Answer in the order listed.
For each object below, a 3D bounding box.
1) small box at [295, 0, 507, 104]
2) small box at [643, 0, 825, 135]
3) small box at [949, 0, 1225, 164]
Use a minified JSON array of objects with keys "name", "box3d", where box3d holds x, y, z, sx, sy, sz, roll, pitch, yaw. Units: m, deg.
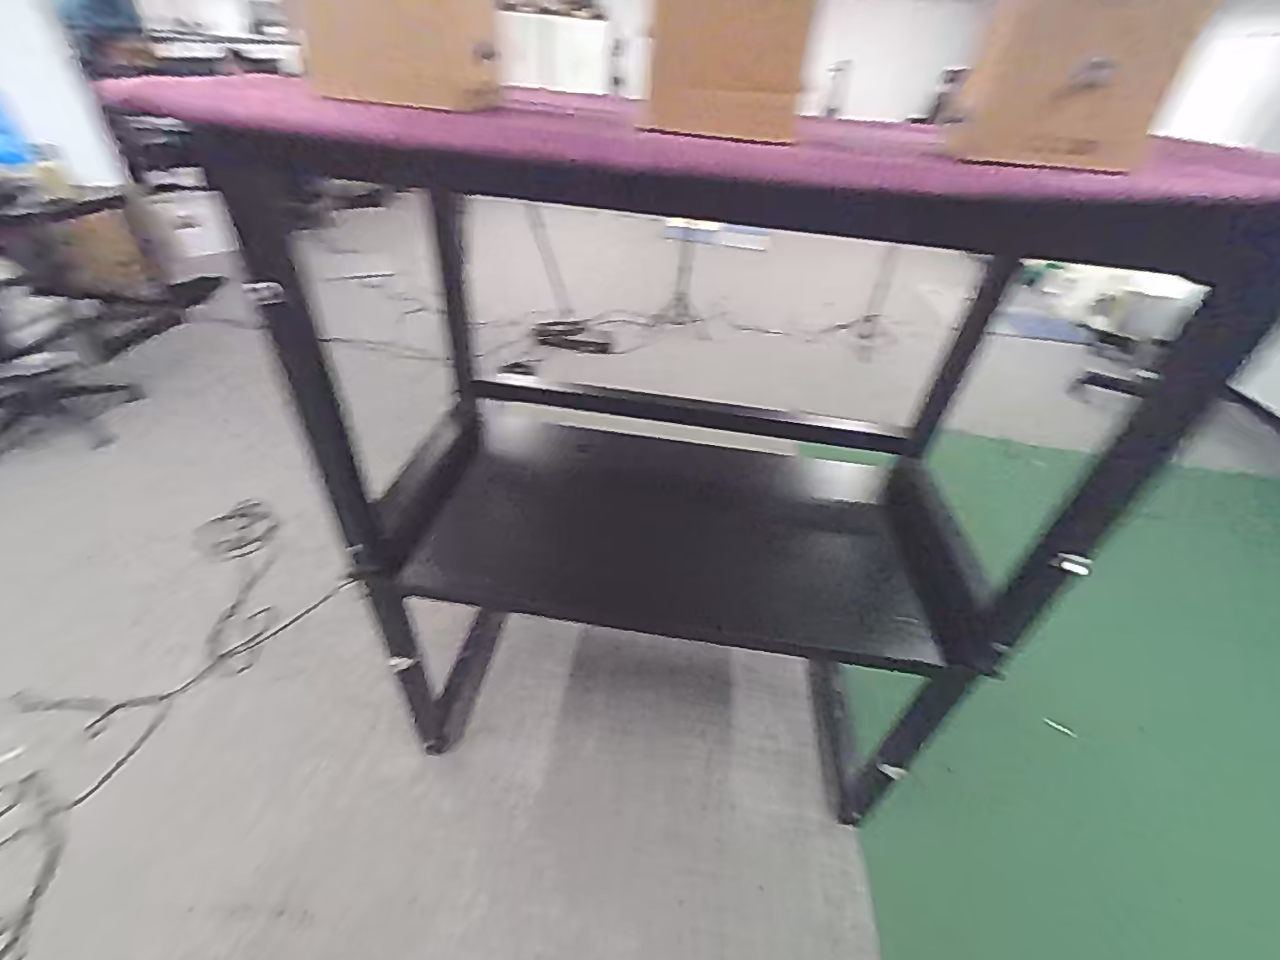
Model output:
[{"name":"small box","box3d":[-0.260,-0.528,0.599,0.179,0.176,0.168,8,39,3]},{"name":"small box","box3d":[0.101,-0.488,0.598,0.179,0.176,0.168,8,37,3]},{"name":"small box","box3d":[0.459,-0.445,0.577,0.168,0.176,0.179,11,37,10]}]
